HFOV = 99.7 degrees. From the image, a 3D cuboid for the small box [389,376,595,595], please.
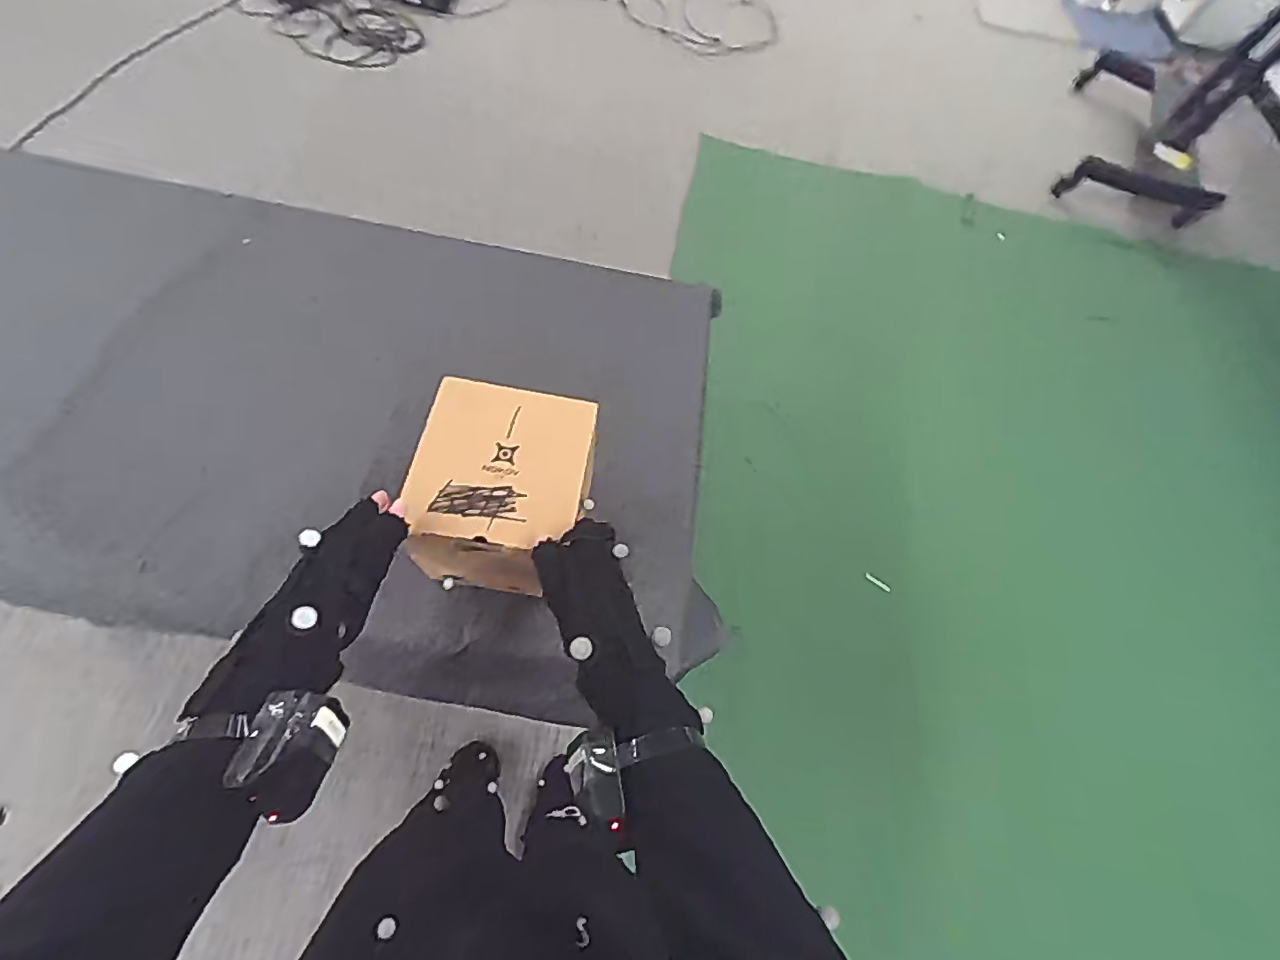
[{"bbox_3d":[-0.146,0.016,0.600,0.168,0.176,0.179,10,63,-3],"label":"small box"}]
